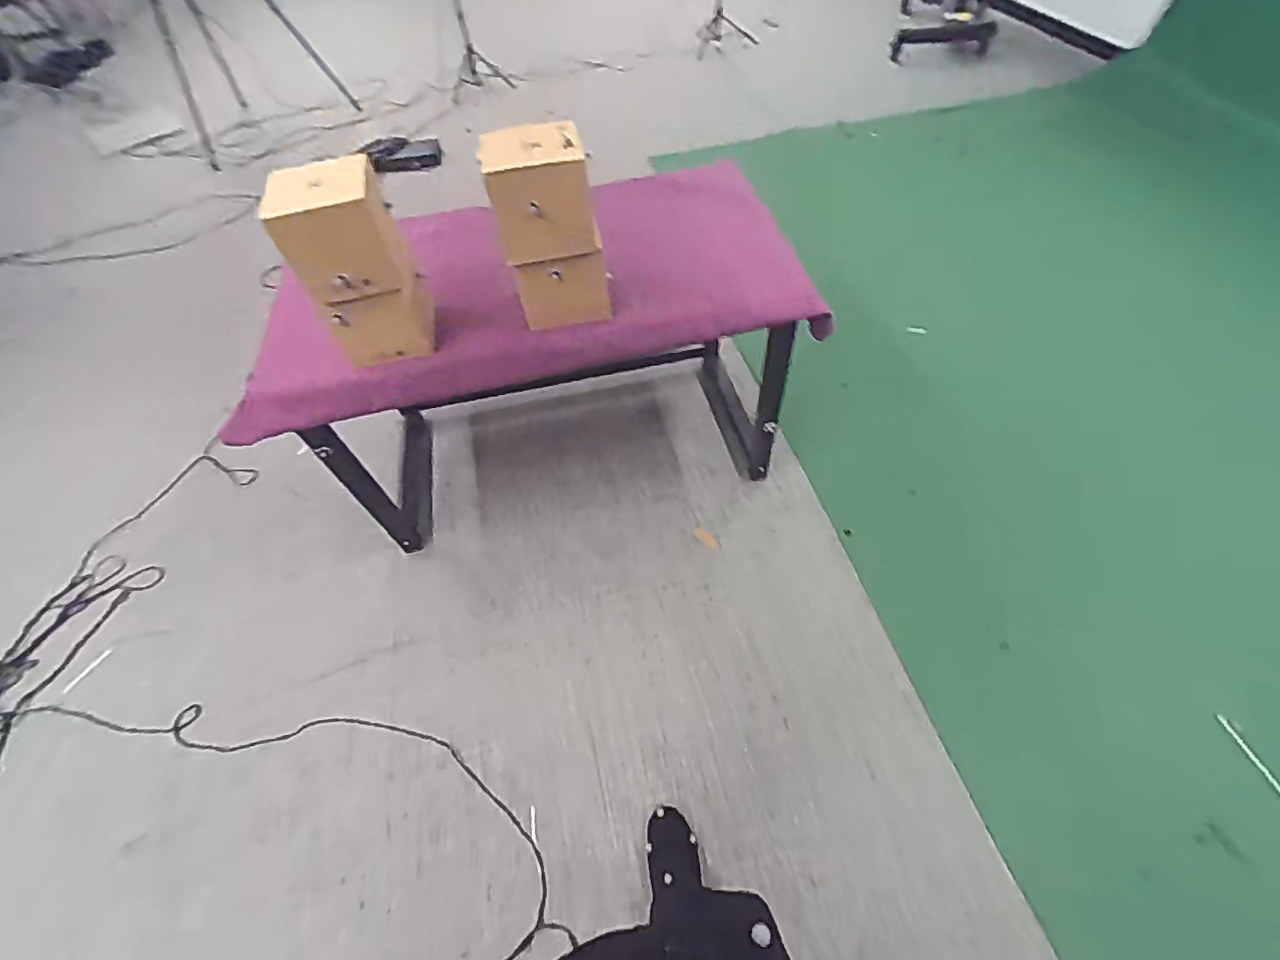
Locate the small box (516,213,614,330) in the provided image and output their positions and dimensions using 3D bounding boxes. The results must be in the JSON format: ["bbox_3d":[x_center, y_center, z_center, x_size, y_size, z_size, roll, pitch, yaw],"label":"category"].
[{"bbox_3d":[-0.157,-0.436,1.135,0.179,0.176,0.168,-10,54,-3],"label":"small box"}]

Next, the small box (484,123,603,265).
[{"bbox_3d":[-0.174,-0.519,0.994,0.179,0.176,0.168,-11,54,-3],"label":"small box"}]

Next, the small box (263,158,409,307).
[{"bbox_3d":[-0.527,-0.440,0.966,0.168,0.176,0.179,-15,54,-6],"label":"small box"}]
